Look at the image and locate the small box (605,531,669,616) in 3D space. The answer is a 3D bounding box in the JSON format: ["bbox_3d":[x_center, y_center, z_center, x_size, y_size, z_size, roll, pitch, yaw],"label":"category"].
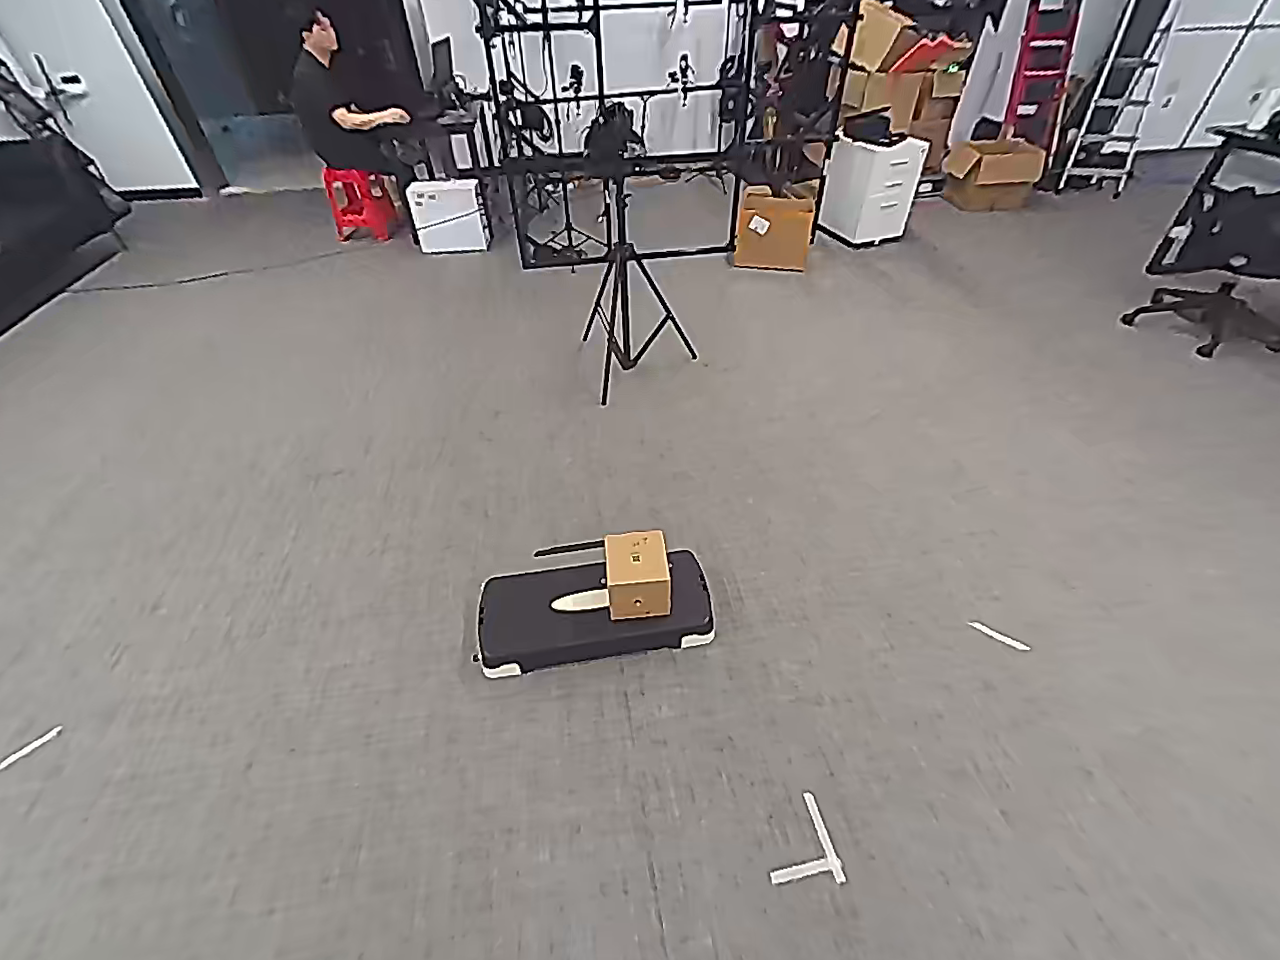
[{"bbox_3d":[-0.009,0.267,1.514,0.168,0.176,0.179,-4,43,-3],"label":"small box"}]
